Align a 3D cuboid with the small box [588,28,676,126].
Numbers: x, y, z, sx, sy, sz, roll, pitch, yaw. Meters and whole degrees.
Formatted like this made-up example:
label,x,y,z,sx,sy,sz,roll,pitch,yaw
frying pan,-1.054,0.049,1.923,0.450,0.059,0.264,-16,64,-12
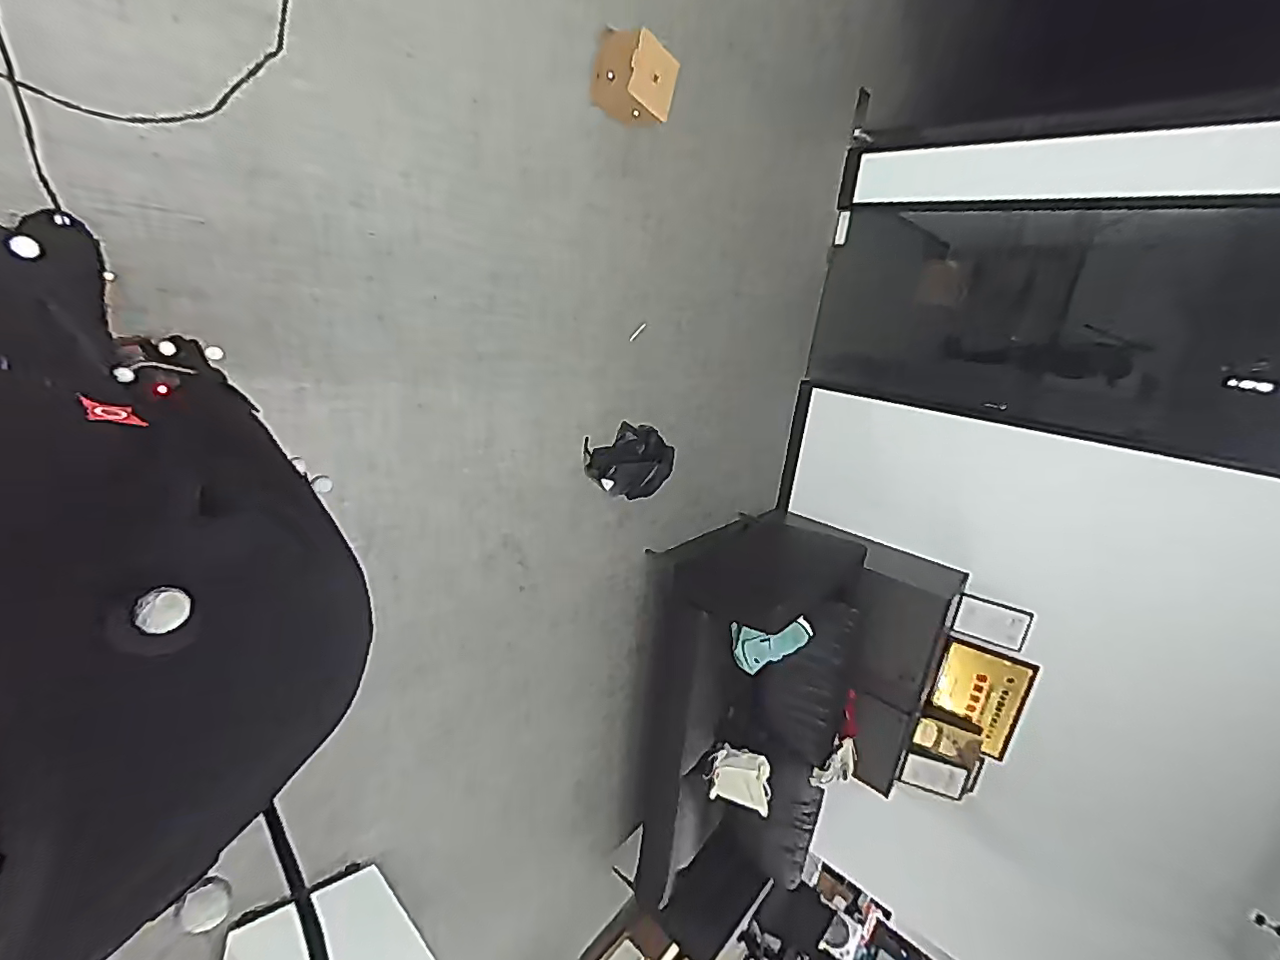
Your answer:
label,x,y,z,sx,sy,sz,roll,pitch,yaw
small box,-0.027,-1.162,1.577,0.179,0.176,0.168,-1,109,-52
